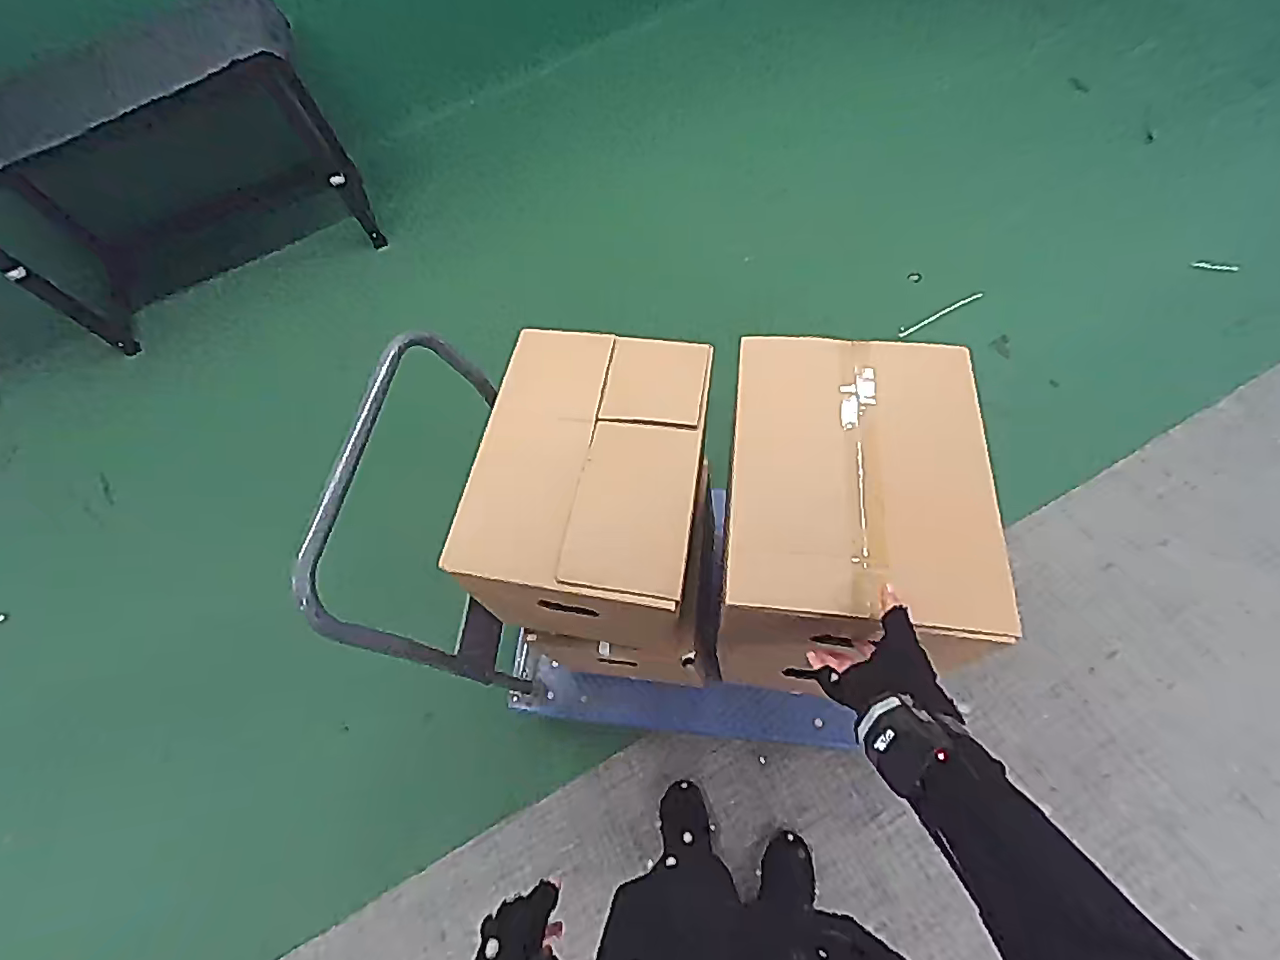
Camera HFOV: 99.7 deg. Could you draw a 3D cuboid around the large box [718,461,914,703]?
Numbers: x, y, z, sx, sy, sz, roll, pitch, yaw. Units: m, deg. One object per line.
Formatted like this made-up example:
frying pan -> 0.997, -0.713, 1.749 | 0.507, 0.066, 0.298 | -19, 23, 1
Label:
large box -> 0.330, 0.208, 1.095 | 0.320, 0.320, 0.408 | 2, 63, 14
